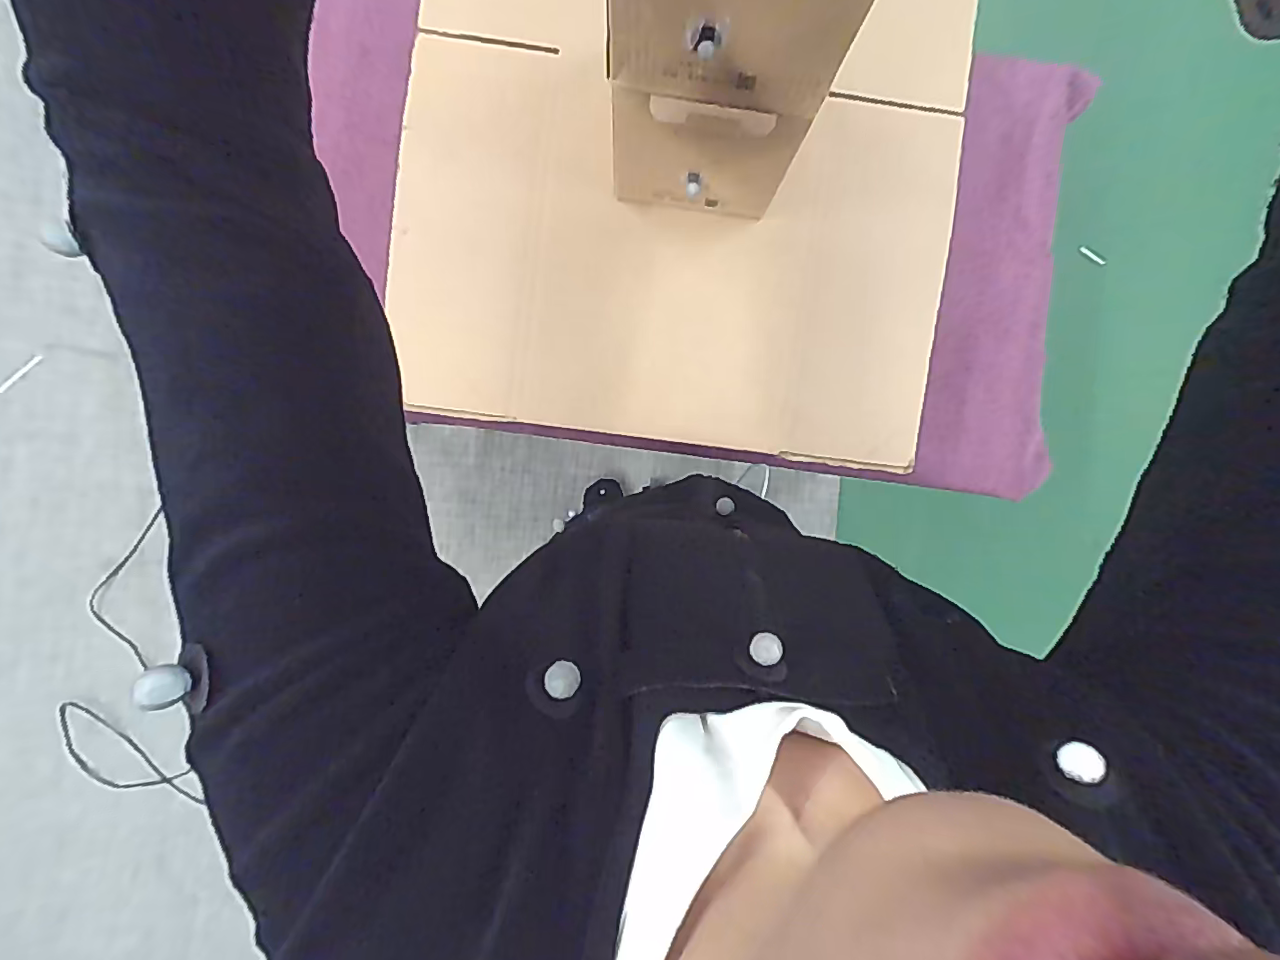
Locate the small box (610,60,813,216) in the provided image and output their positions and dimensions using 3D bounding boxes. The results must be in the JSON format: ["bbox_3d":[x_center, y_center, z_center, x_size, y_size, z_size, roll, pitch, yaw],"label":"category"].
[{"bbox_3d":[0.064,-0.386,0.511,0.168,0.176,0.179,7,89,-2],"label":"small box"}]

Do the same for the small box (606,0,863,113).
[{"bbox_3d":[0.068,-0.389,0.348,0.168,0.176,0.179,8,89,-3],"label":"small box"}]
